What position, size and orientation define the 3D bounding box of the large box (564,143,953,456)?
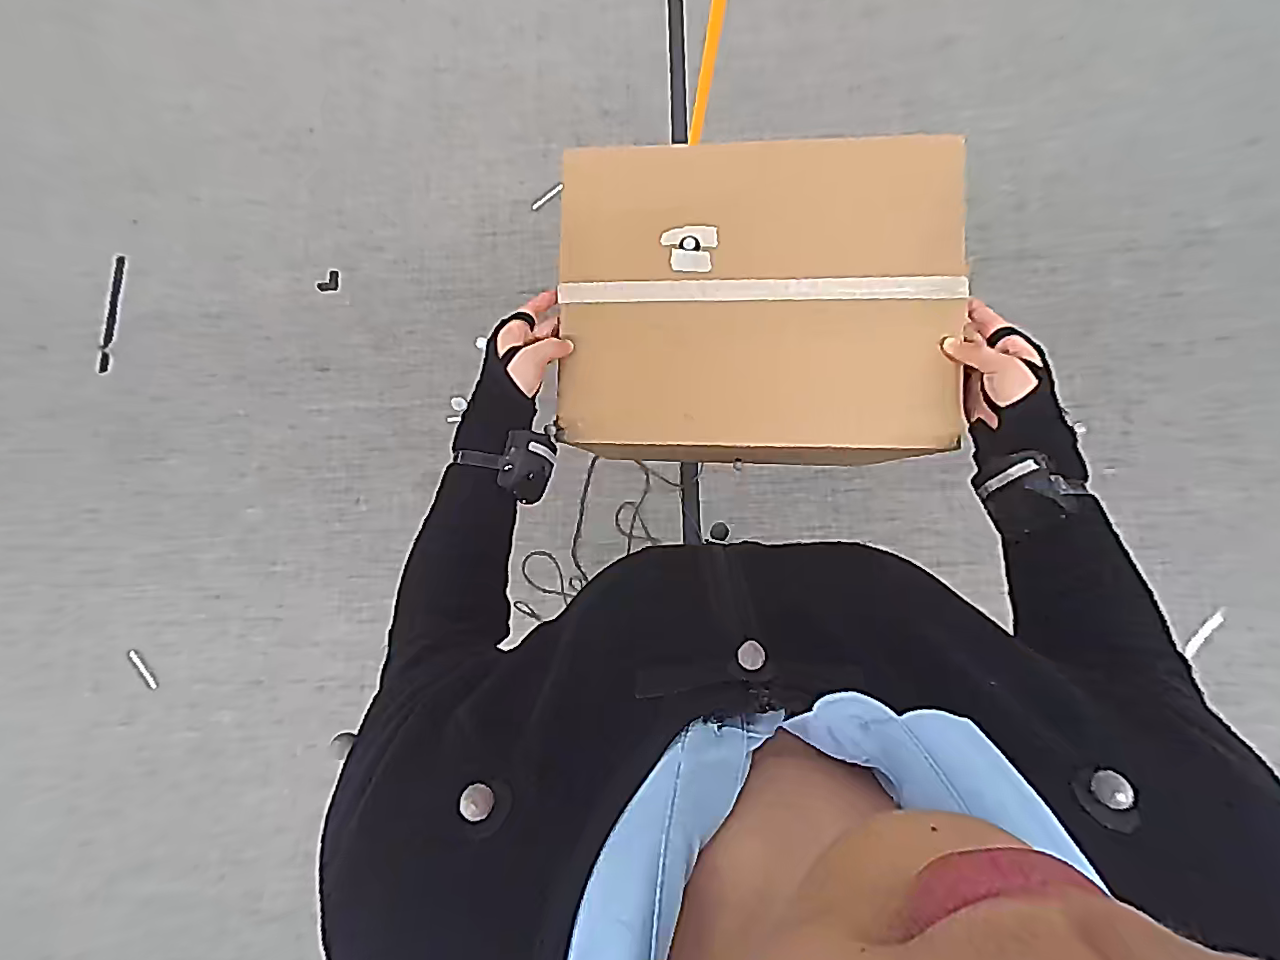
[{"bbox_3d":[0.134,-0.190,0.712,0.408,0.320,0.320,1,89,6],"label":"large box"}]
